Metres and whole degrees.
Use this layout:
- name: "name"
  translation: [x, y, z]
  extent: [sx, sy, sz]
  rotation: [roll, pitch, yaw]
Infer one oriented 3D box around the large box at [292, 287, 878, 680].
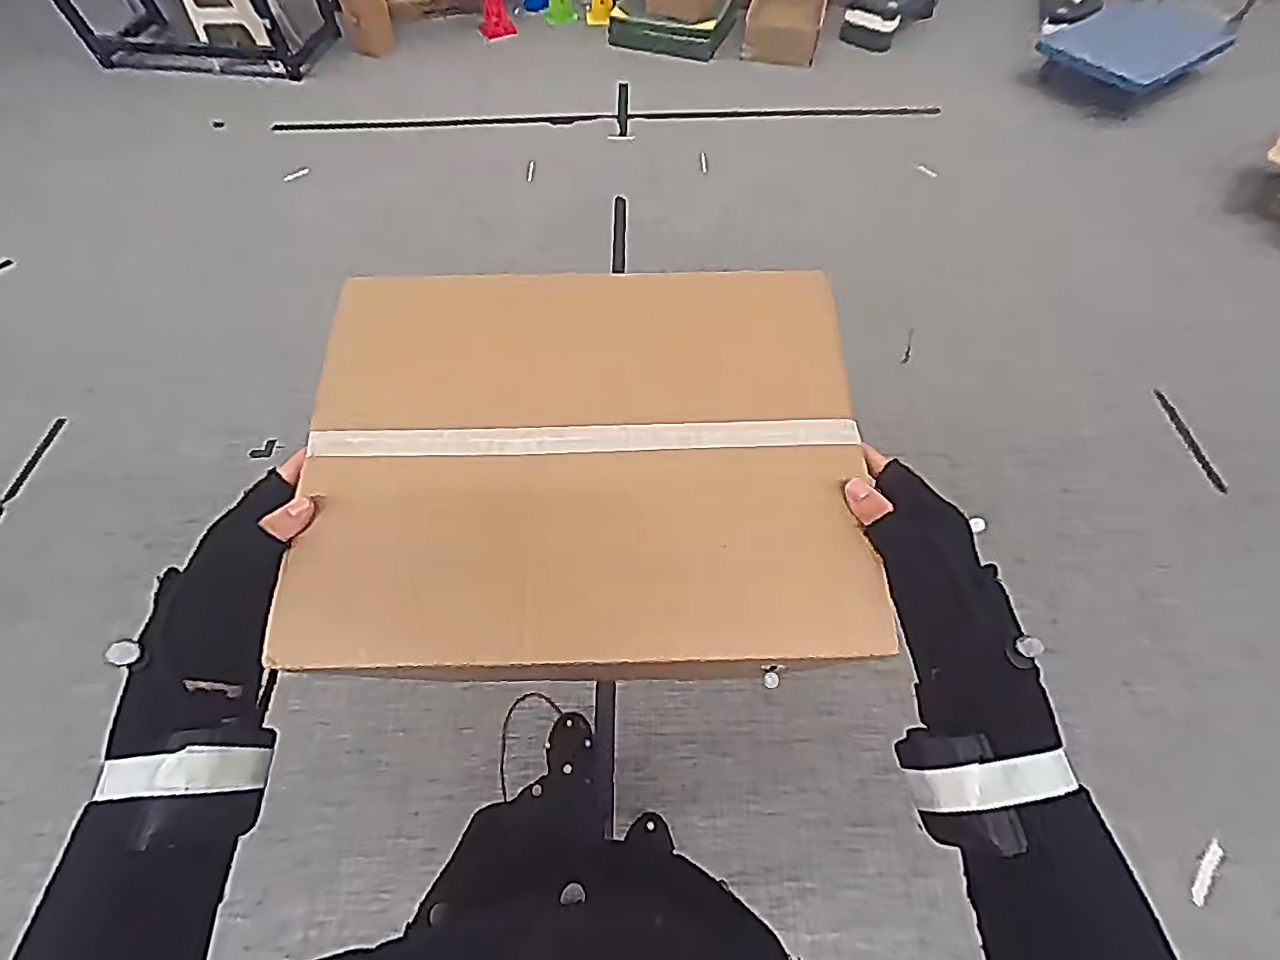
- name: "large box"
  translation: [-0.038, 0.034, 0.554]
  extent: [0.408, 0.320, 0.320]
  rotation: [-1, 67, 0]
